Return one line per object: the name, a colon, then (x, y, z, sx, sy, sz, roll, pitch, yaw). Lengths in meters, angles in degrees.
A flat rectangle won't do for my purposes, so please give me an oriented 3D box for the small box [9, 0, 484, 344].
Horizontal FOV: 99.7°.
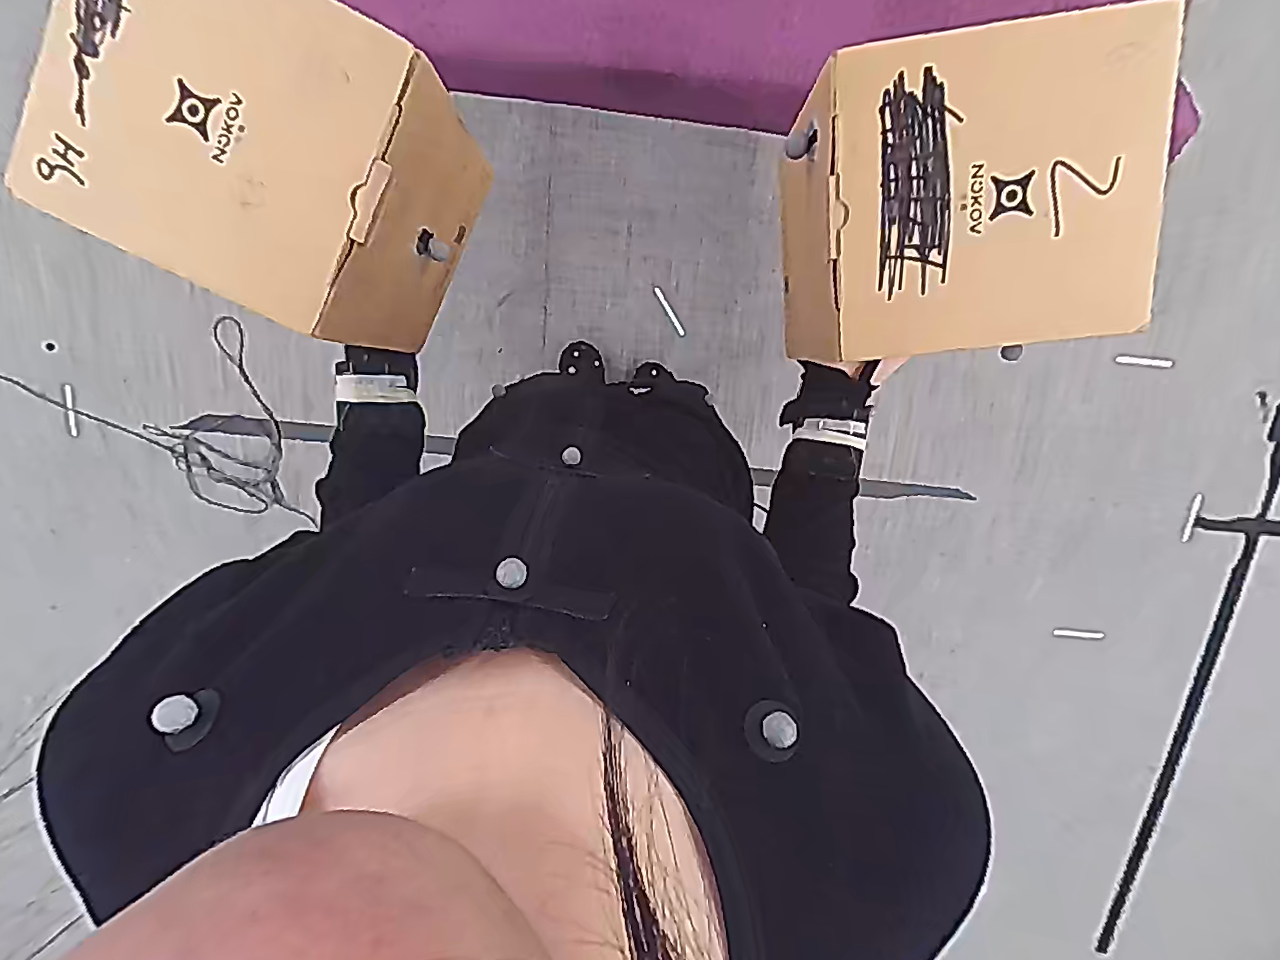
small box: (-0.227, -0.203, 0.364, 0.179, 0.176, 0.168, 25, 98, -7)
